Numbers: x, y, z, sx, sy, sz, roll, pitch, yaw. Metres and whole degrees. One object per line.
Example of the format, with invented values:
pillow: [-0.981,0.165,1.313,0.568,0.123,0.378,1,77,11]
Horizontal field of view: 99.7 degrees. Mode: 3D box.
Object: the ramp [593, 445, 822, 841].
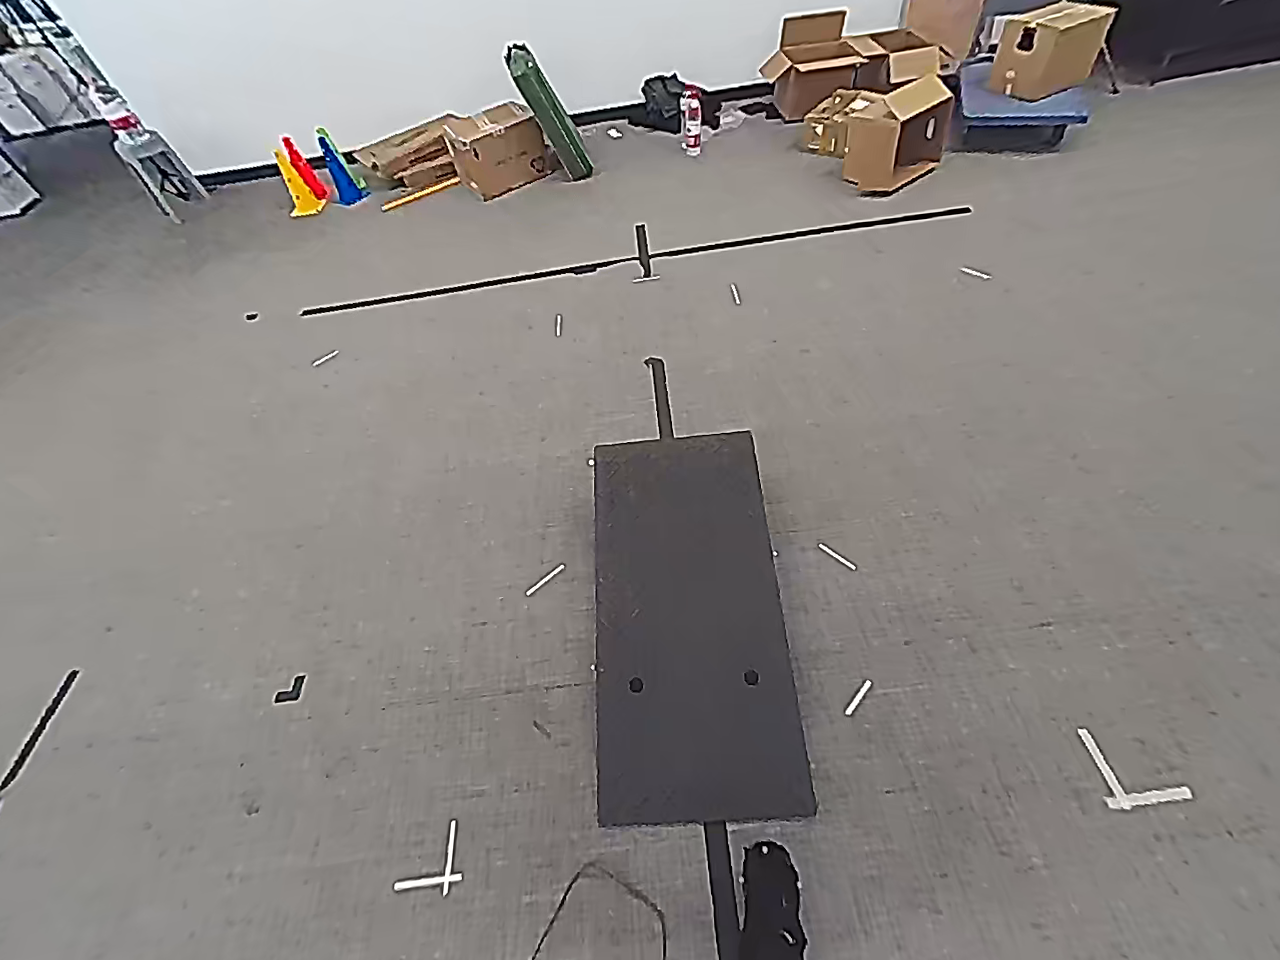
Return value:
ramp: [0.130,0.354,1.448,0.509,0.206,0.991,-8,50,2]
